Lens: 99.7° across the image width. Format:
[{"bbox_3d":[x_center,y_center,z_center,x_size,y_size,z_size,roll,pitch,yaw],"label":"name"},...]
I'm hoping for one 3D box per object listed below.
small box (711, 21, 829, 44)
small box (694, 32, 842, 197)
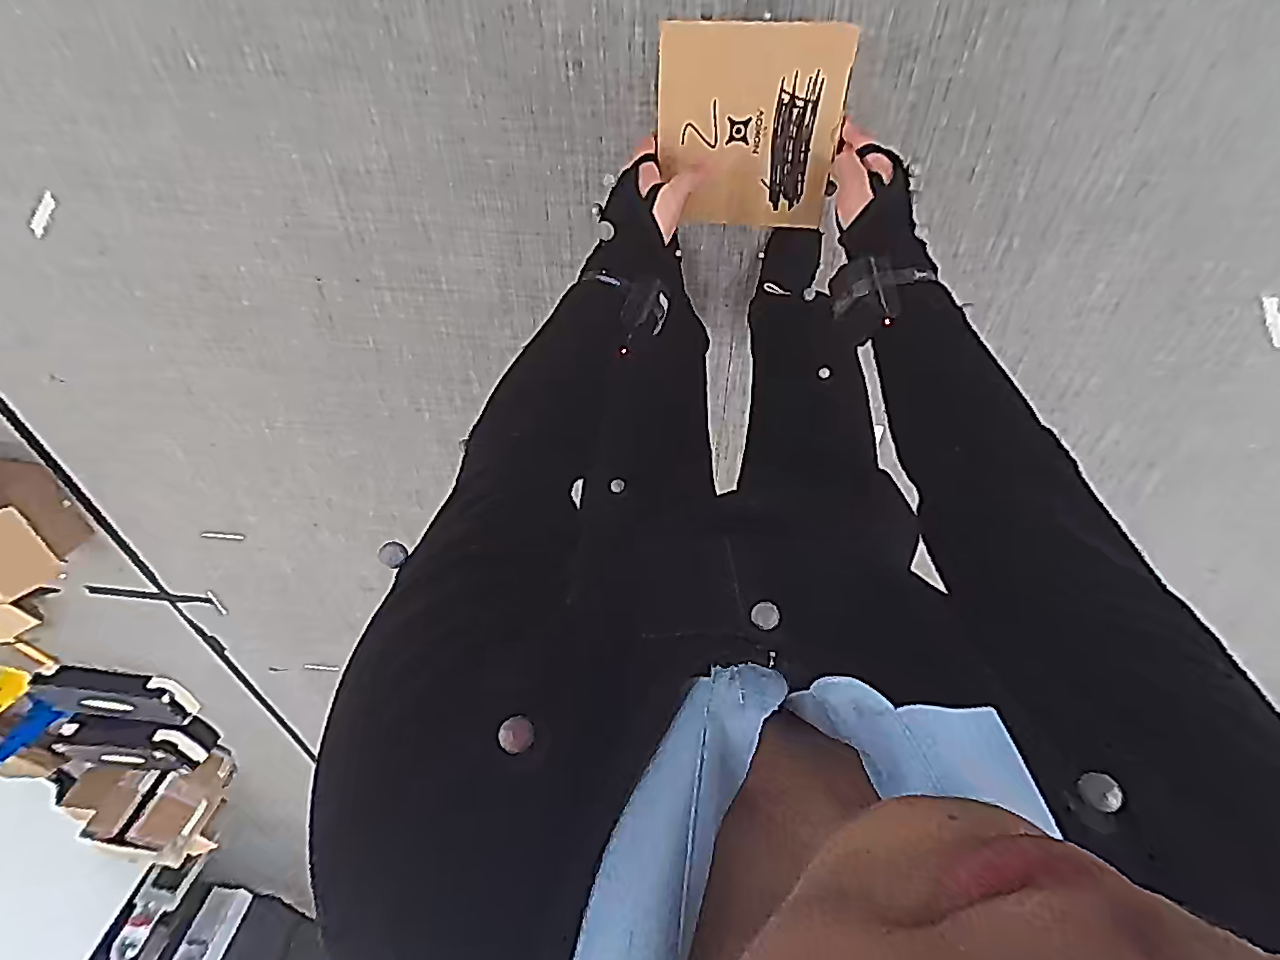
[{"bbox_3d":[0.187,-0.619,0.870,0.168,0.176,0.179,6,129,2],"label":"small box"},{"bbox_3d":[0.165,-0.508,0.752,0.179,0.176,0.168,0,130,8],"label":"small box"}]
